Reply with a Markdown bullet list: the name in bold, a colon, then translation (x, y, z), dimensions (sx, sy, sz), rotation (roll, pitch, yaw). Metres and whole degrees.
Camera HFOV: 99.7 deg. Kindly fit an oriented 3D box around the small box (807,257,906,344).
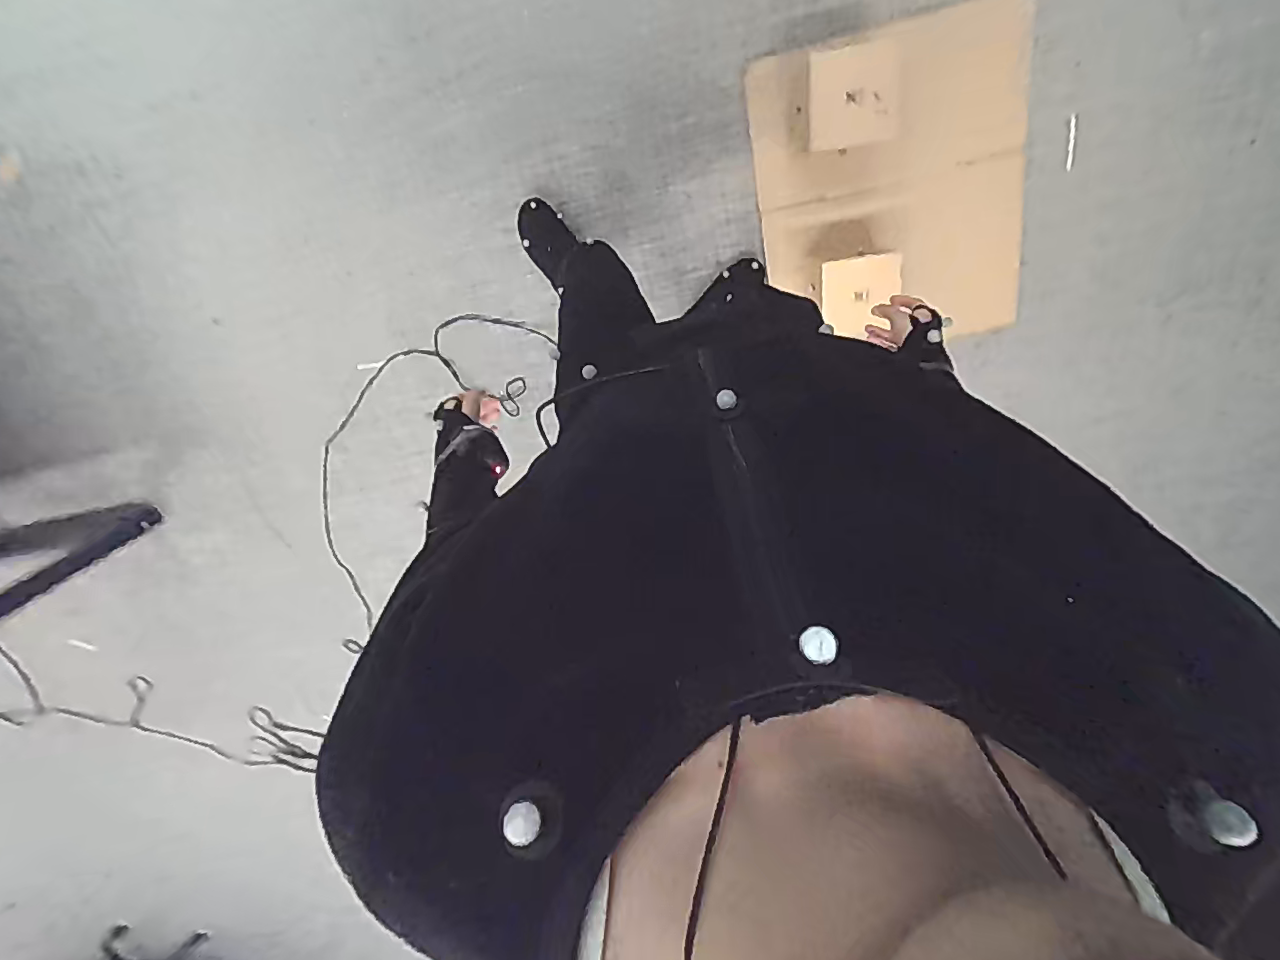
- **small box**: translation (0.499, -0.425, 1.272), dimensions (0.179, 0.176, 0.168), rotation (-8, 115, 3)
